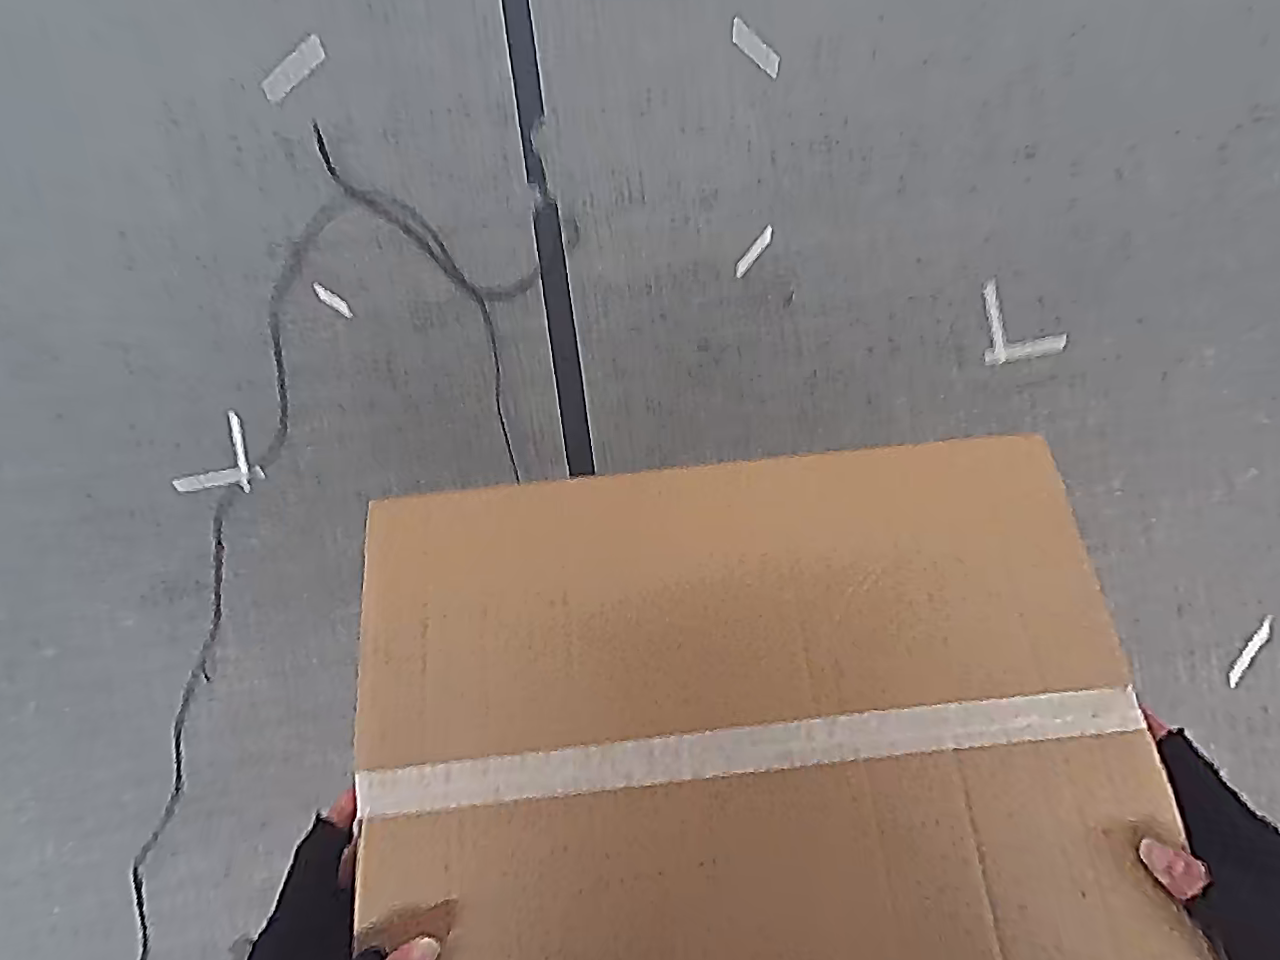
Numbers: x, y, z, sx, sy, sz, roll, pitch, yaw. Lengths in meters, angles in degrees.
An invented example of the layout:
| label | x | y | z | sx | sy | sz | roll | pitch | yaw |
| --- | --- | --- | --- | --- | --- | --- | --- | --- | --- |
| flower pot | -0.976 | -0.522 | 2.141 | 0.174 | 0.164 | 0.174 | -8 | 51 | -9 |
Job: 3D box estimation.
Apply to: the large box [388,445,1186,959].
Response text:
| label | x | y | z | sx | sy | sz | roll | pitch | yaw |
| --- | --- | --- | --- | --- | --- | --- | --- | --- | --- |
| large box | 0.061 | 0.189 | 0.443 | 0.408 | 0.320 | 0.320 | -6 | 73 | -1 |
